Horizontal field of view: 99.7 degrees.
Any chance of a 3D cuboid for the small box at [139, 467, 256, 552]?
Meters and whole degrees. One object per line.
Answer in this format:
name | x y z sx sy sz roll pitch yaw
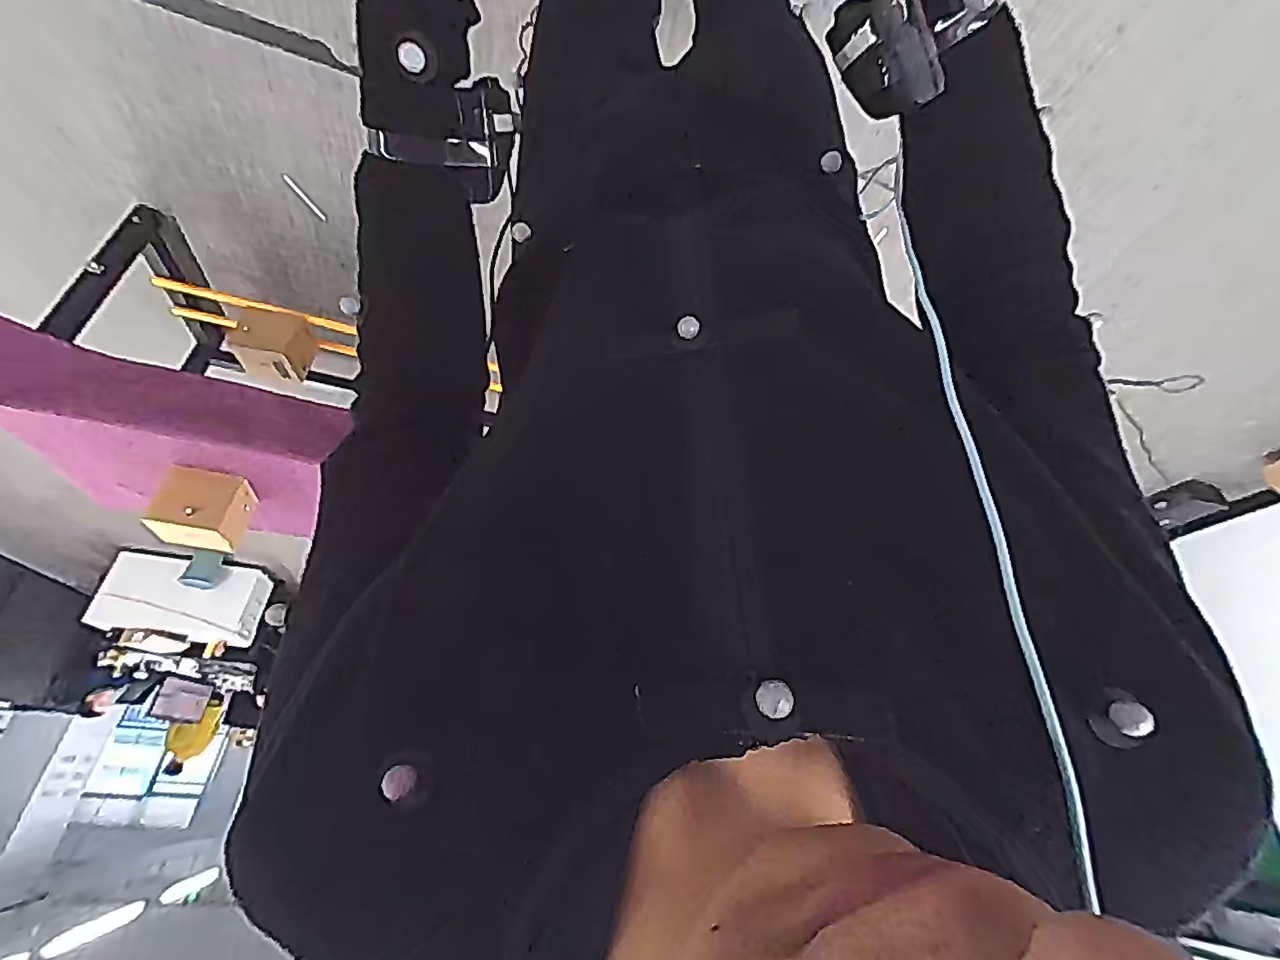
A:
small box | -1.206 0.080 1.489 0.179 0.176 0.168 13 150 -16
